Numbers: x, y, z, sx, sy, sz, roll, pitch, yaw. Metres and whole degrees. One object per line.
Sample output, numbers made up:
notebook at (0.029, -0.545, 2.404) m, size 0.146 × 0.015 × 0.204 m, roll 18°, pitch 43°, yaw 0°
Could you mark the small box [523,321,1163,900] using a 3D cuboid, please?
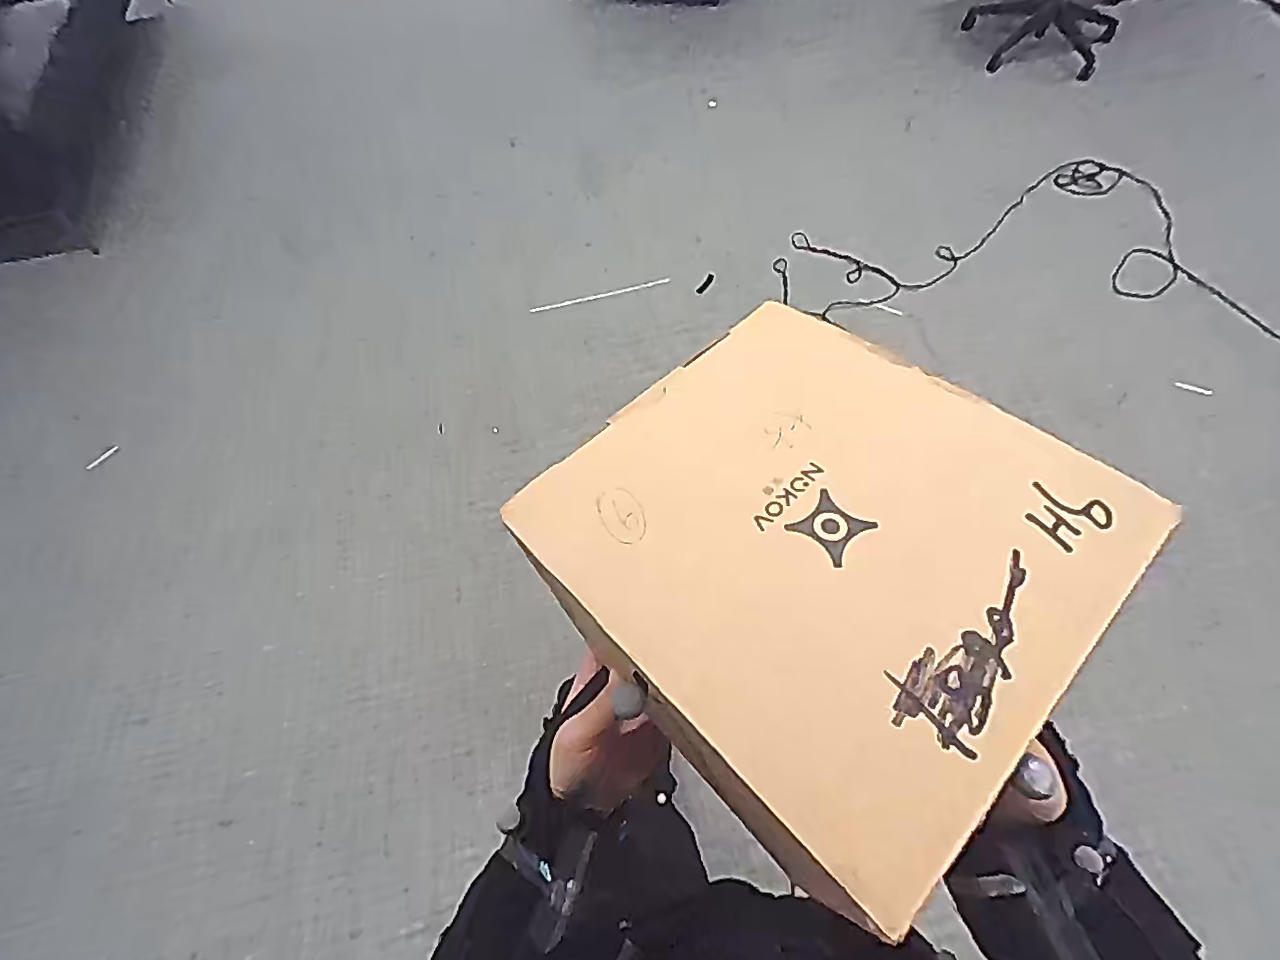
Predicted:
small box at (0.076, 0.061, 0.269) m, size 0.168 × 0.176 × 0.179 m, roll -41°, pitch 59°, yaw -18°
